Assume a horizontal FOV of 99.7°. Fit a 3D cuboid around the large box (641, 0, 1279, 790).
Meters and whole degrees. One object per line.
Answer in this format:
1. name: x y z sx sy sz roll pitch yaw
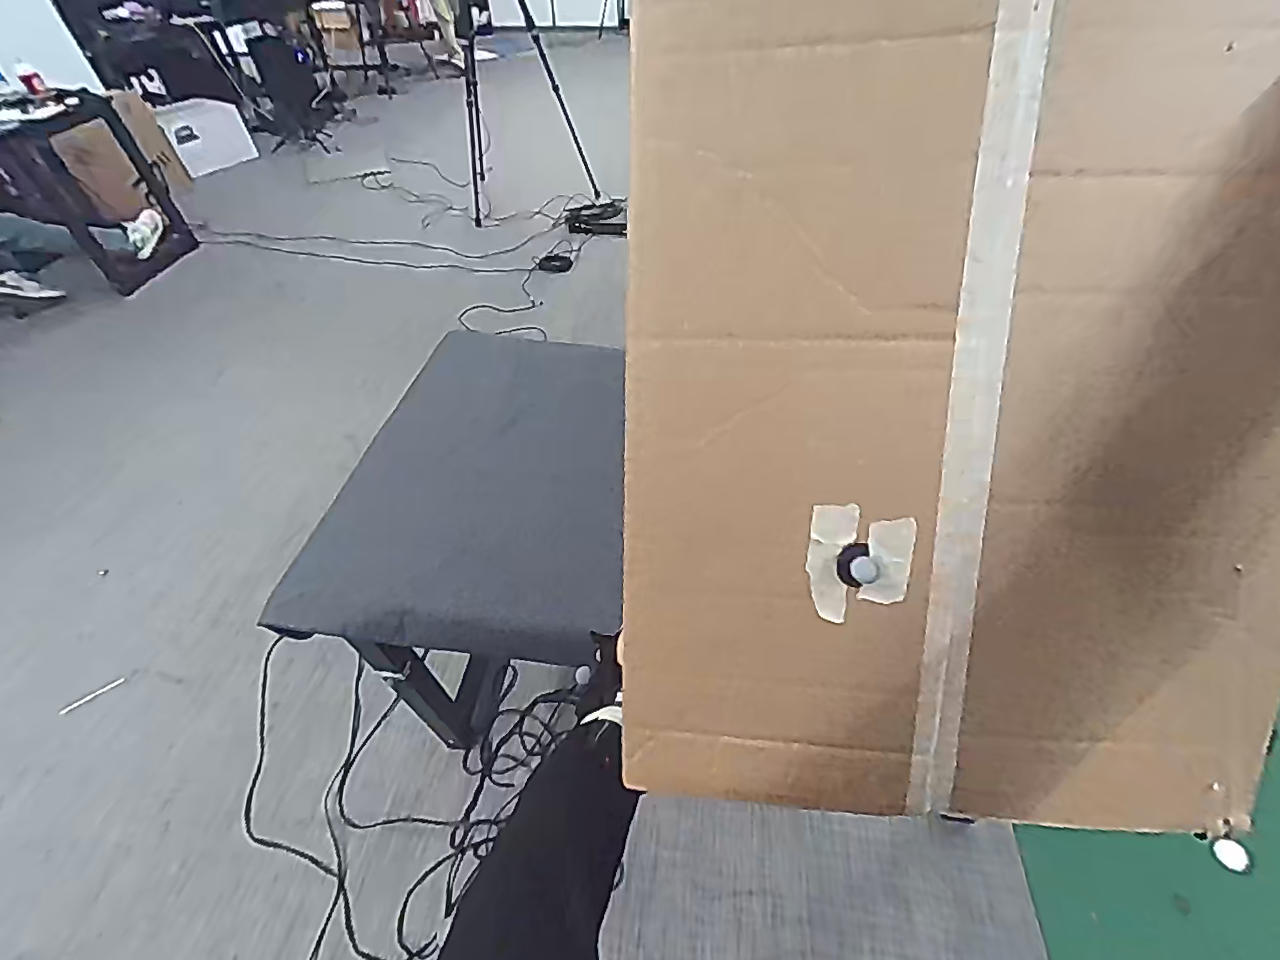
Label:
1. large box: 0.168 -0.056 0.413 0.320 0.408 0.320 1 12 5
